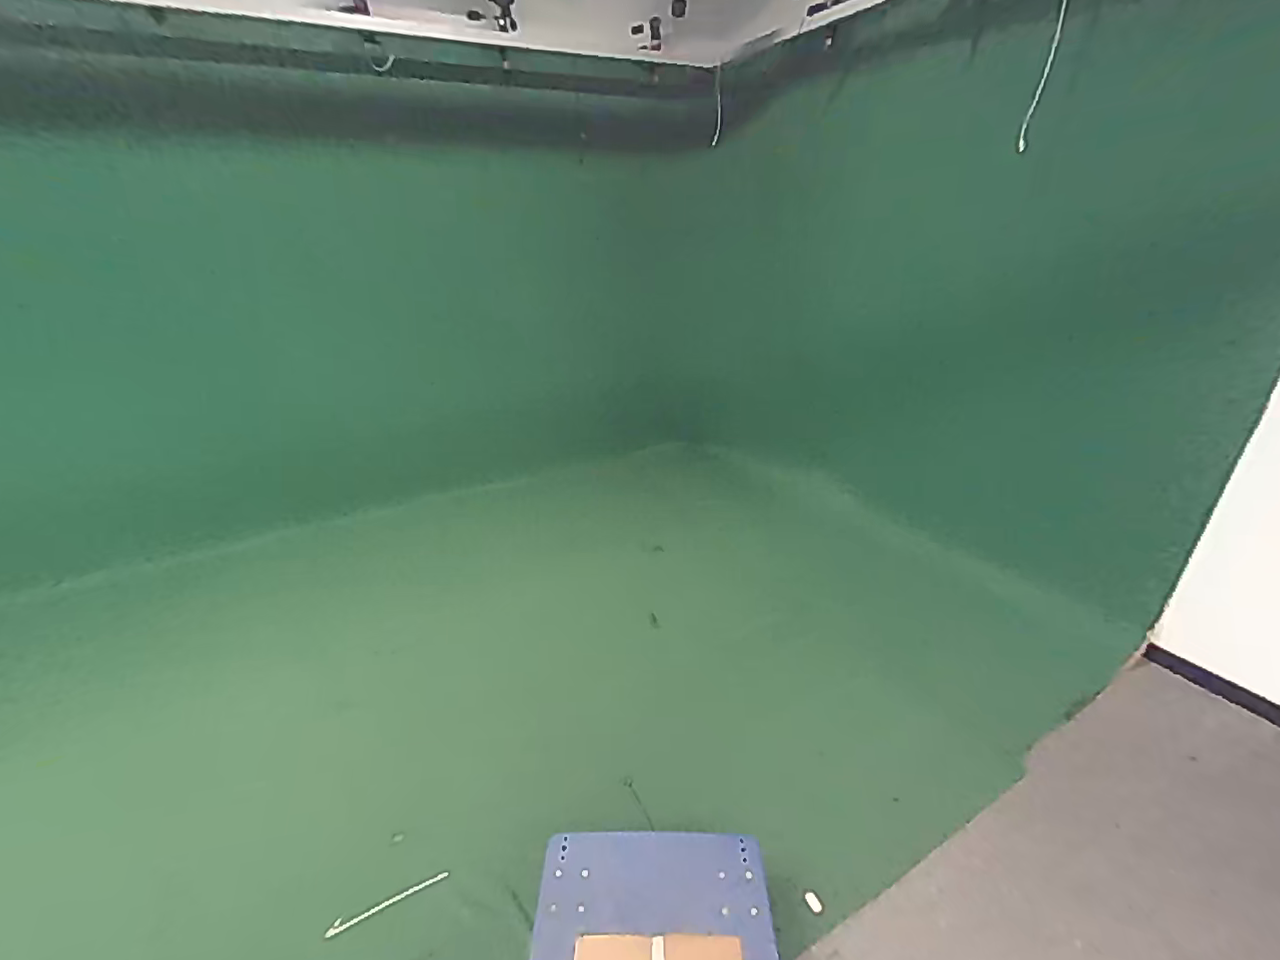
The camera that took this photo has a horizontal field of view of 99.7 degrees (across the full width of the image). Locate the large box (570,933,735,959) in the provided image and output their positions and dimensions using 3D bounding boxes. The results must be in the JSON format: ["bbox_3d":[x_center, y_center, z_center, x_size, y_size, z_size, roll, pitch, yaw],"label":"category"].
[{"bbox_3d":[0.026,1.092,0.920,0.320,0.320,0.408,0,25,2],"label":"large box"}]
